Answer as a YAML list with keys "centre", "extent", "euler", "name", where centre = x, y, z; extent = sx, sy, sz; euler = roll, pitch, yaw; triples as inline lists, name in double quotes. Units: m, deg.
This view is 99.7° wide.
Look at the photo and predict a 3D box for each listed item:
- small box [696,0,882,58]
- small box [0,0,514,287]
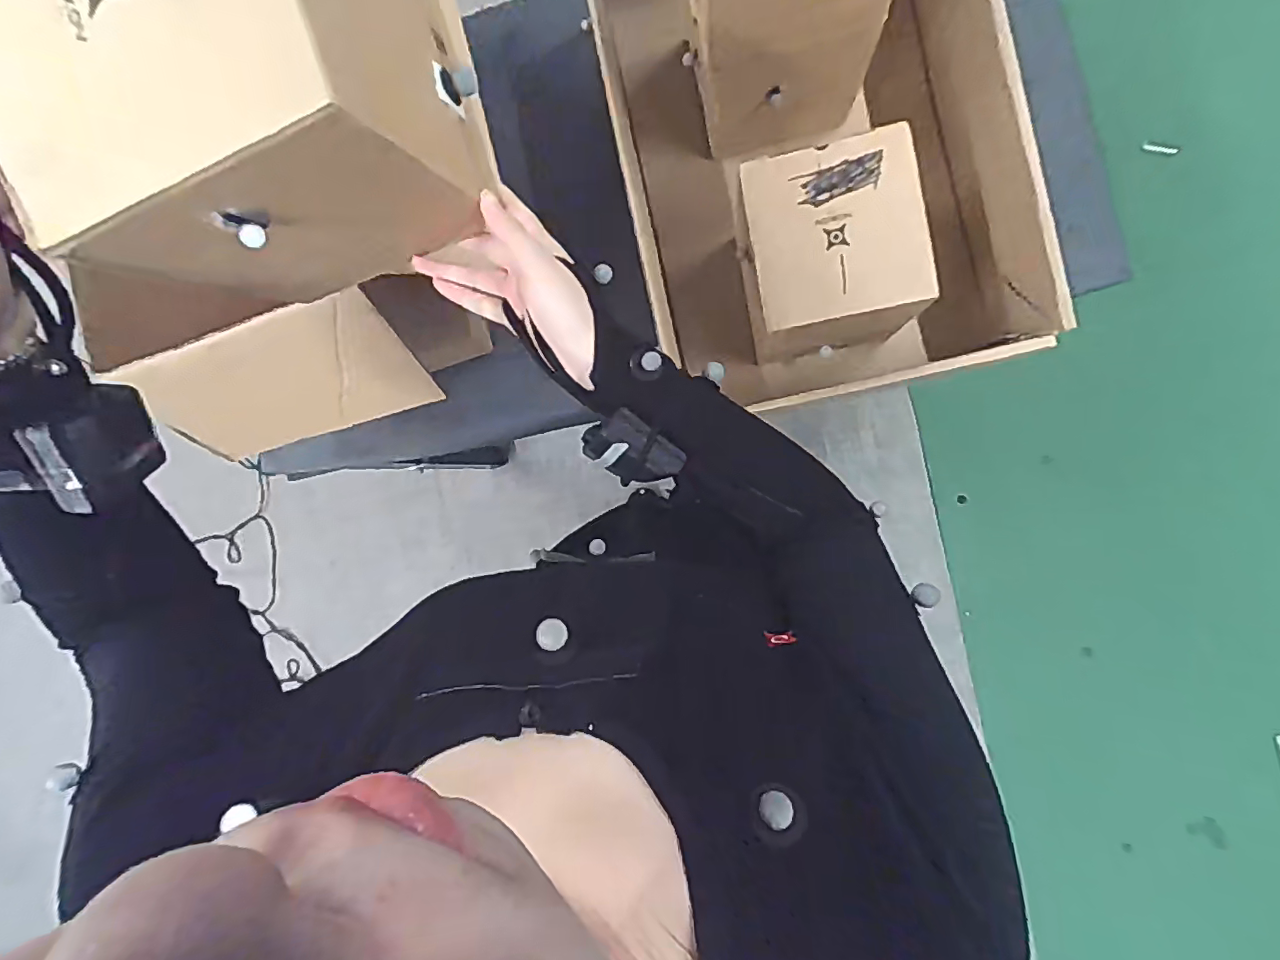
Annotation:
- centre: [0.125, -0.504, 0.451]
  extent: [0.179, 0.176, 0.168]
  euler: [-9, 92, 8]
  name: "small box"
- centre: [-0.200, -0.222, 0.303]
  extent: [0.179, 0.176, 0.168]
  euler: [-15, 99, 12]
  name: "small box"
